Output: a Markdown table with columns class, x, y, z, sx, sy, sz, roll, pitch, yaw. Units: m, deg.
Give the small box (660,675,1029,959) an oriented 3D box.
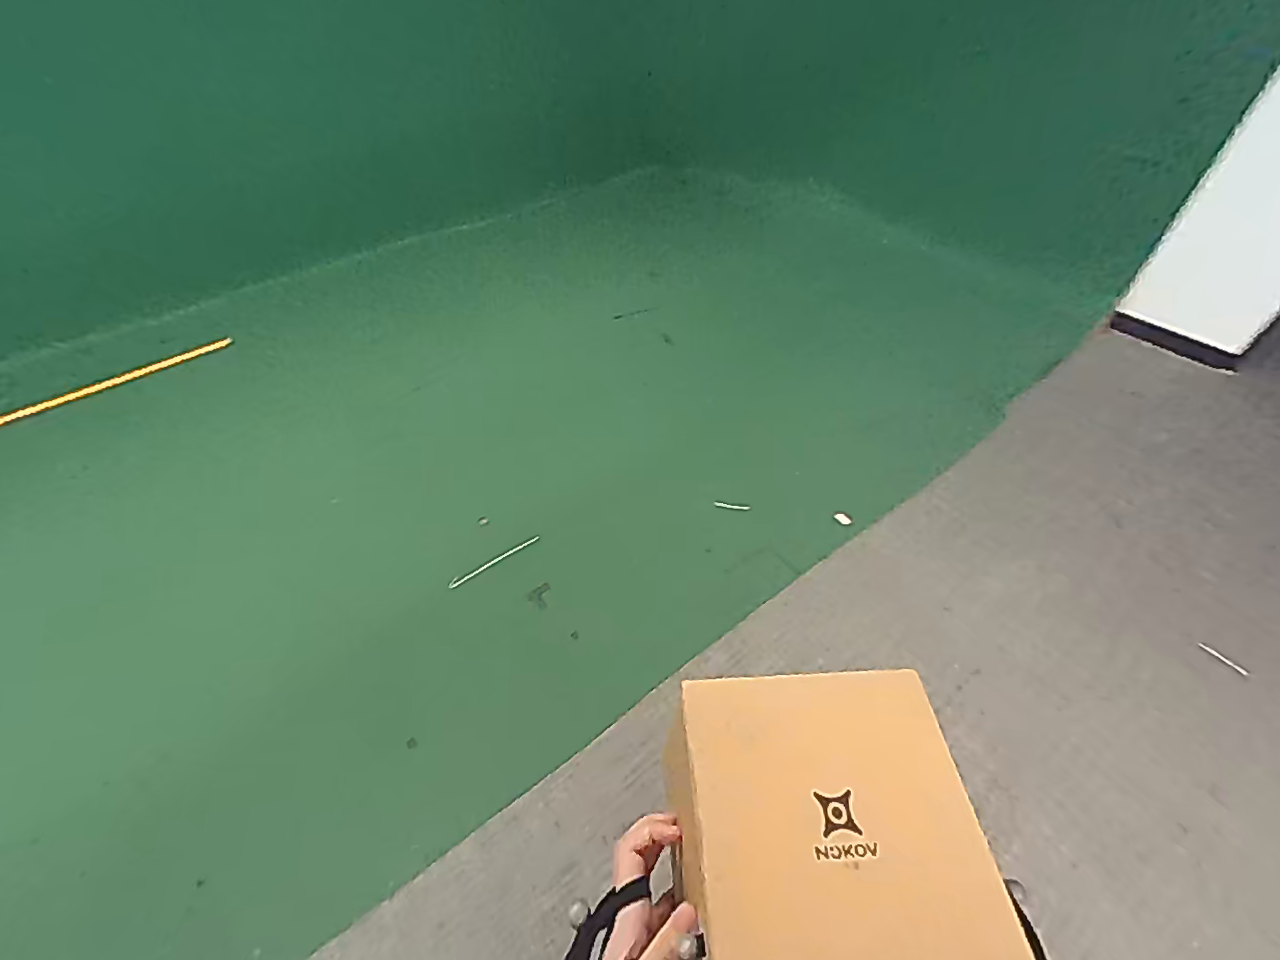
| class | x | y | z | sx | sy | sz | roll | pitch | yaw |
| --- | --- | --- | --- | --- | --- | --- | --- | --- | --- |
| small box | 0.108 | 0.256 | 0.372 | 0.168 | 0.176 | 0.179 | -2 | 48 | -6 |
